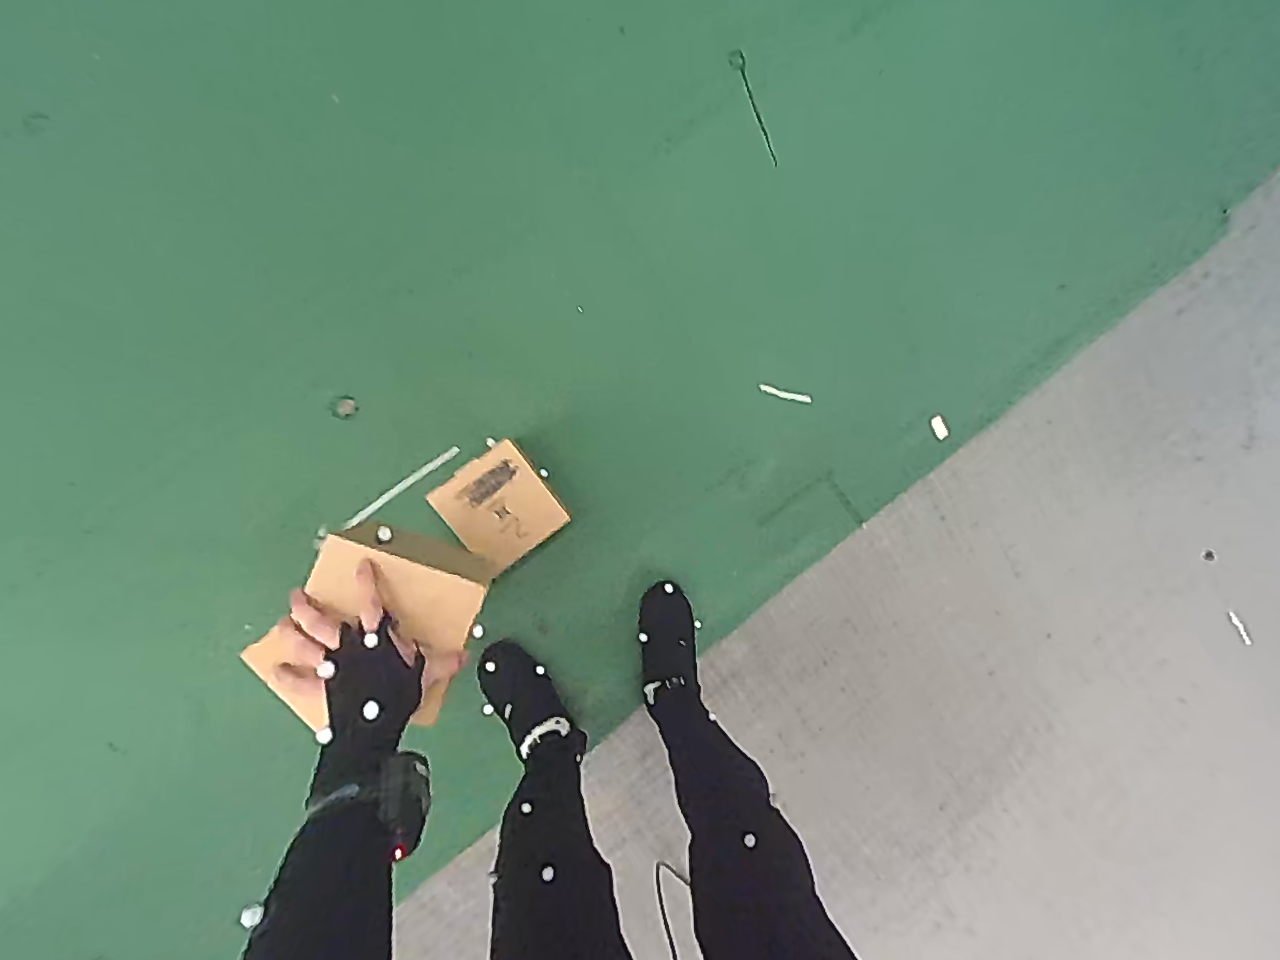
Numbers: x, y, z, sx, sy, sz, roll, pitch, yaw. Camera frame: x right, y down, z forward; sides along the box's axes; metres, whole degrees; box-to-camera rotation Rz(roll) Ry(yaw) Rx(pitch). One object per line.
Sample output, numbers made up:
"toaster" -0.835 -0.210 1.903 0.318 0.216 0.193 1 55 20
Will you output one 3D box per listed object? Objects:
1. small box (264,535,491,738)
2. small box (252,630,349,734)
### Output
"small box" -0.294 0.172 0.650 0.179 0.176 0.168 21 87 -12
"small box" -0.516 0.297 0.957 0.168 0.176 0.179 -39 98 -4
